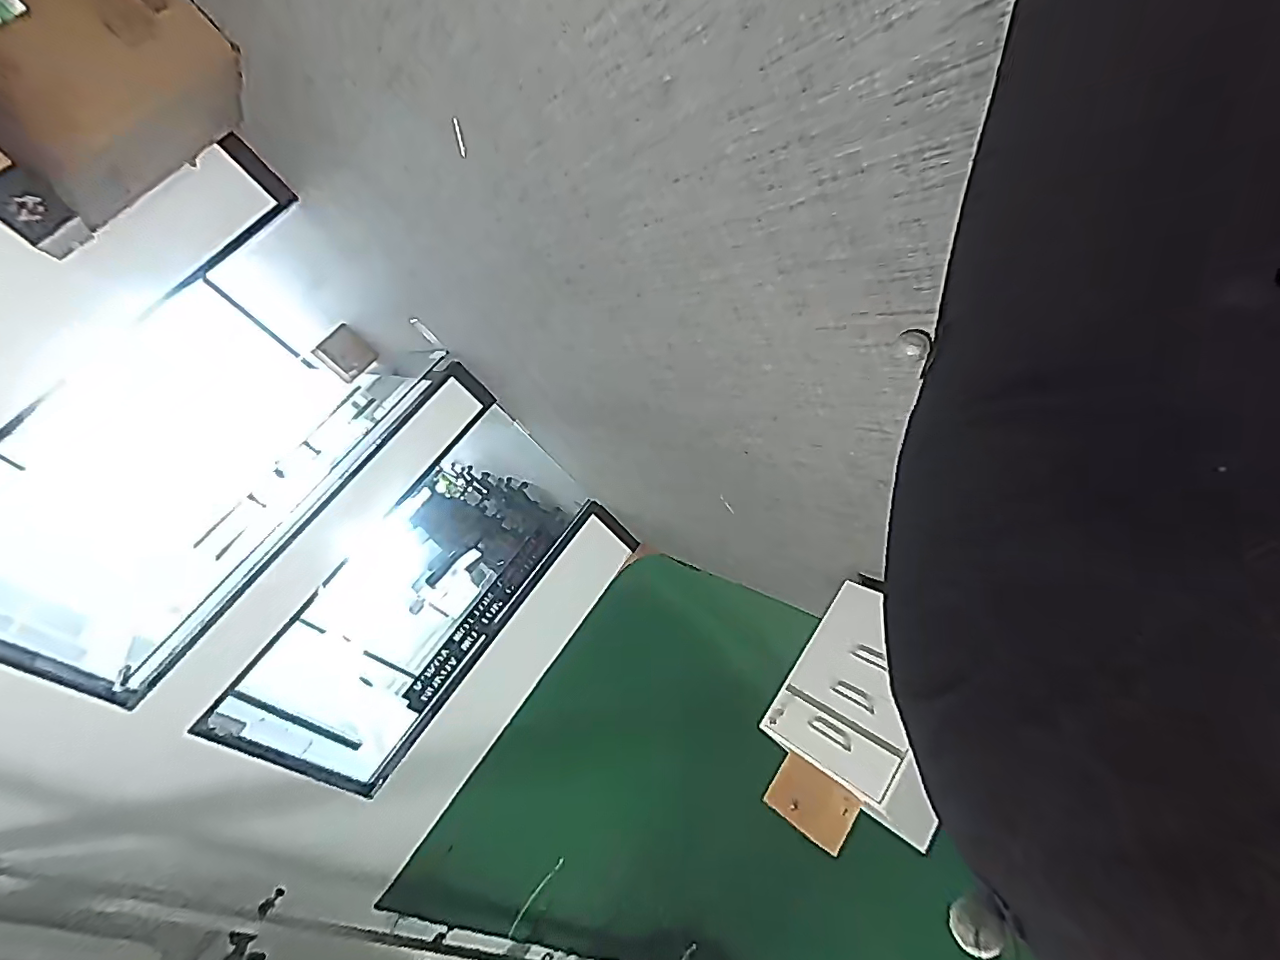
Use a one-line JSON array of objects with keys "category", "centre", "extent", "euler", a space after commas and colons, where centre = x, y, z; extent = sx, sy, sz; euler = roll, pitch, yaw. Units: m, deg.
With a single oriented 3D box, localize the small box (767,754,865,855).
[{"category": "small box", "centre": [0.508, 0.920, 1.554], "extent": [0.168, 0.176, 0.179], "euler": [47, 161, -30]}]
